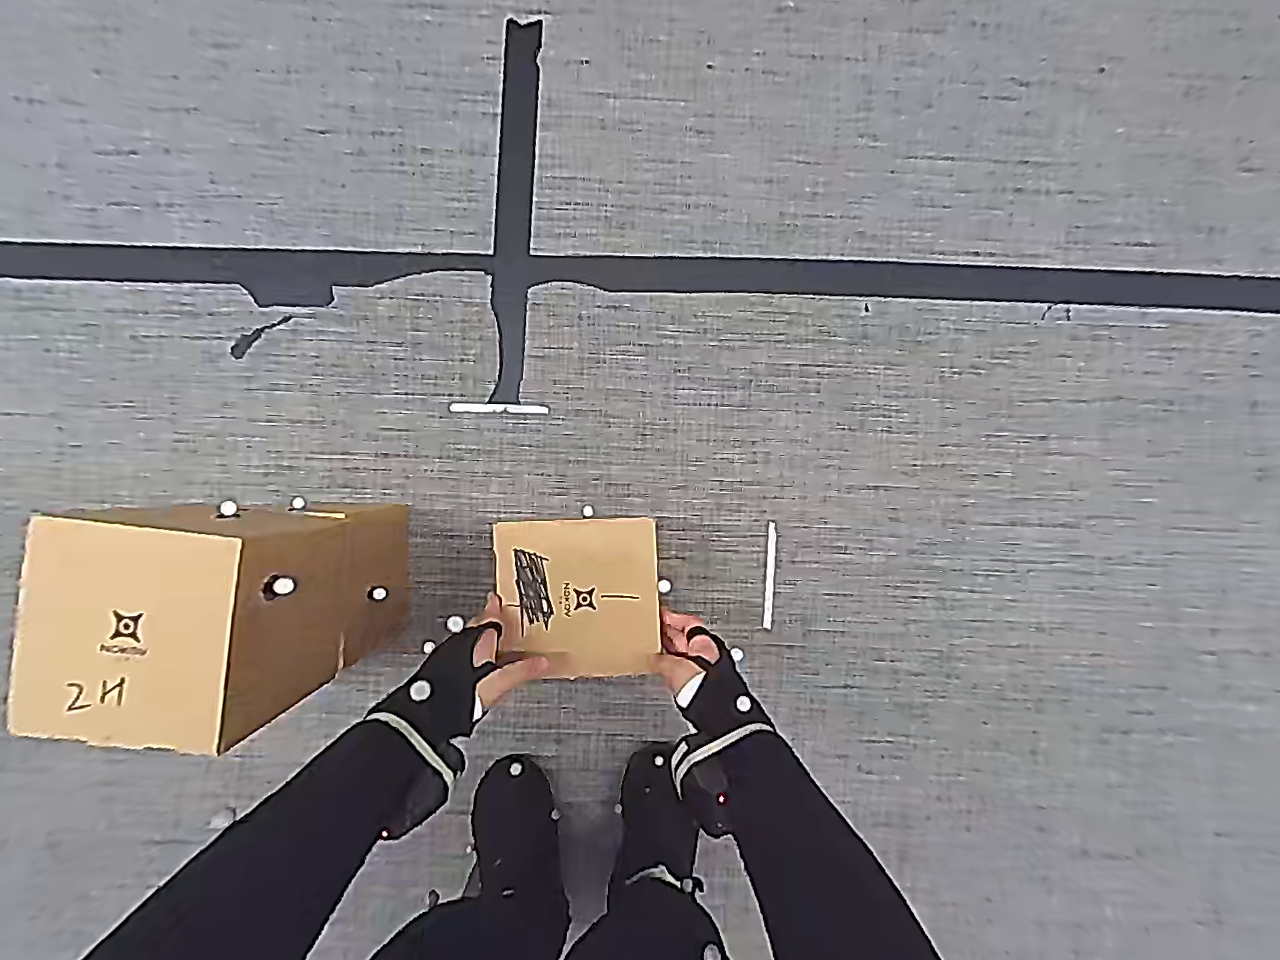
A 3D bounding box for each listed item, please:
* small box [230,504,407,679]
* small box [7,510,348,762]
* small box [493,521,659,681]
[{"bbox_3d":[-0.403,0.126,0.665,0.168,0.176,0.179,1,91,-1],"label":"small box"},{"bbox_3d":[-0.398,0.124,0.499,0.168,0.176,0.179,7,91,0],"label":"small box"},{"bbox_3d":[-0.067,0.134,0.652,0.179,0.176,0.168,-2,87,0],"label":"small box"}]
